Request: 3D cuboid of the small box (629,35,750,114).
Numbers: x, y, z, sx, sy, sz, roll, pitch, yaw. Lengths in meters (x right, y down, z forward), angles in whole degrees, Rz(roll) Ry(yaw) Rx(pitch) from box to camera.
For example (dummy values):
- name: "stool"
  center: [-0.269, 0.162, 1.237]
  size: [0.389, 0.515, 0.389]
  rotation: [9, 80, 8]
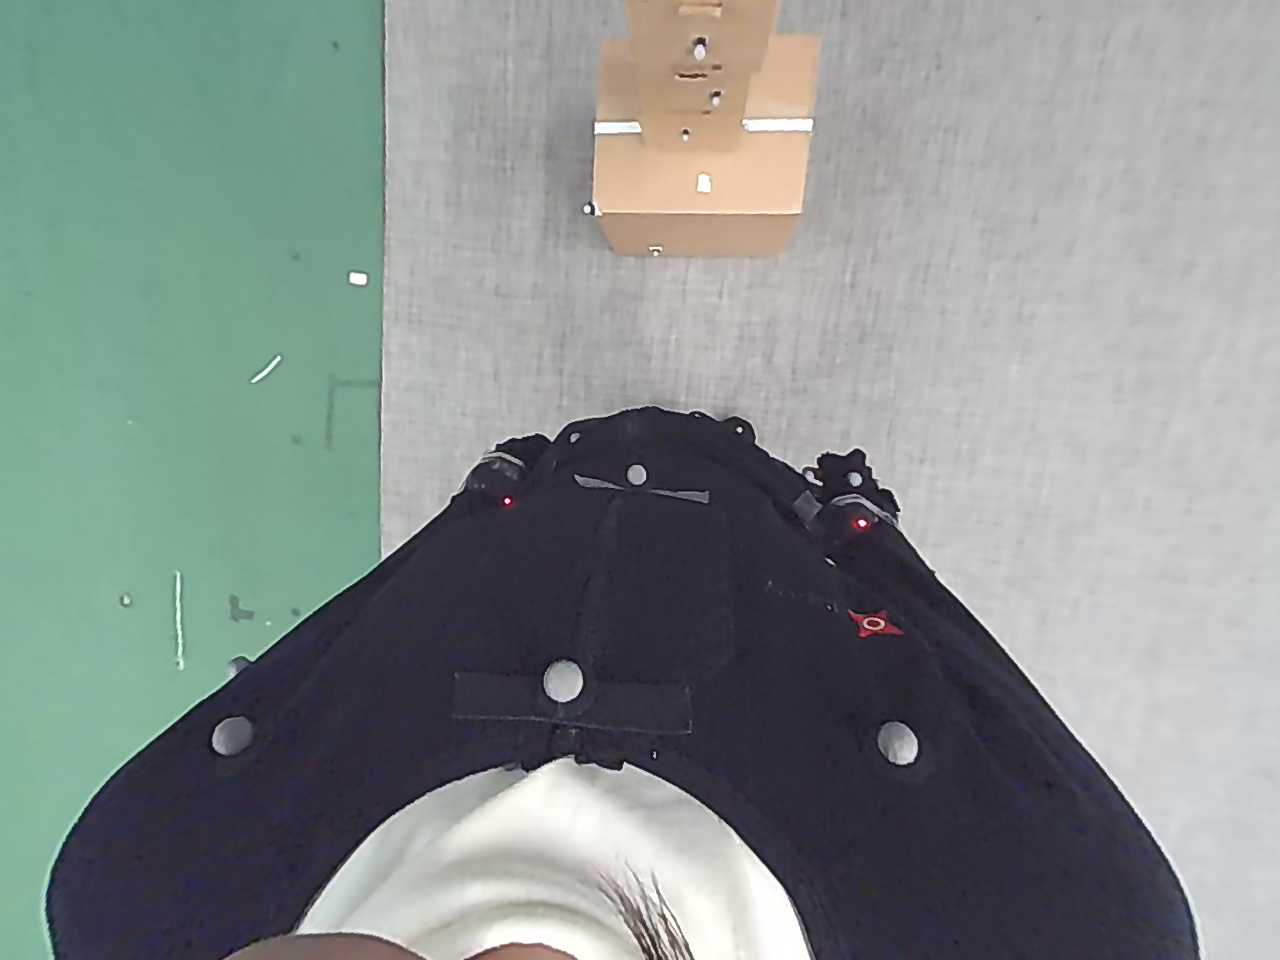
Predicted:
- name: "small box"
  center: [0.079, -0.648, 0.770]
  size: [0.168, 0.176, 0.179]
  rotation: [4, 103, 5]

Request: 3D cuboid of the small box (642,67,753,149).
- name: "small box"
  center: [0.100, -0.687, 0.926]
  size: [0.179, 0.176, 0.168]
  rotation: [3, 105, 6]

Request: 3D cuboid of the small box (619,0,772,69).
- name: "small box"
  center: [0.072, -0.601, 0.614]
  size: [0.168, 0.176, 0.179]
  rotation: [4, 105, 6]
